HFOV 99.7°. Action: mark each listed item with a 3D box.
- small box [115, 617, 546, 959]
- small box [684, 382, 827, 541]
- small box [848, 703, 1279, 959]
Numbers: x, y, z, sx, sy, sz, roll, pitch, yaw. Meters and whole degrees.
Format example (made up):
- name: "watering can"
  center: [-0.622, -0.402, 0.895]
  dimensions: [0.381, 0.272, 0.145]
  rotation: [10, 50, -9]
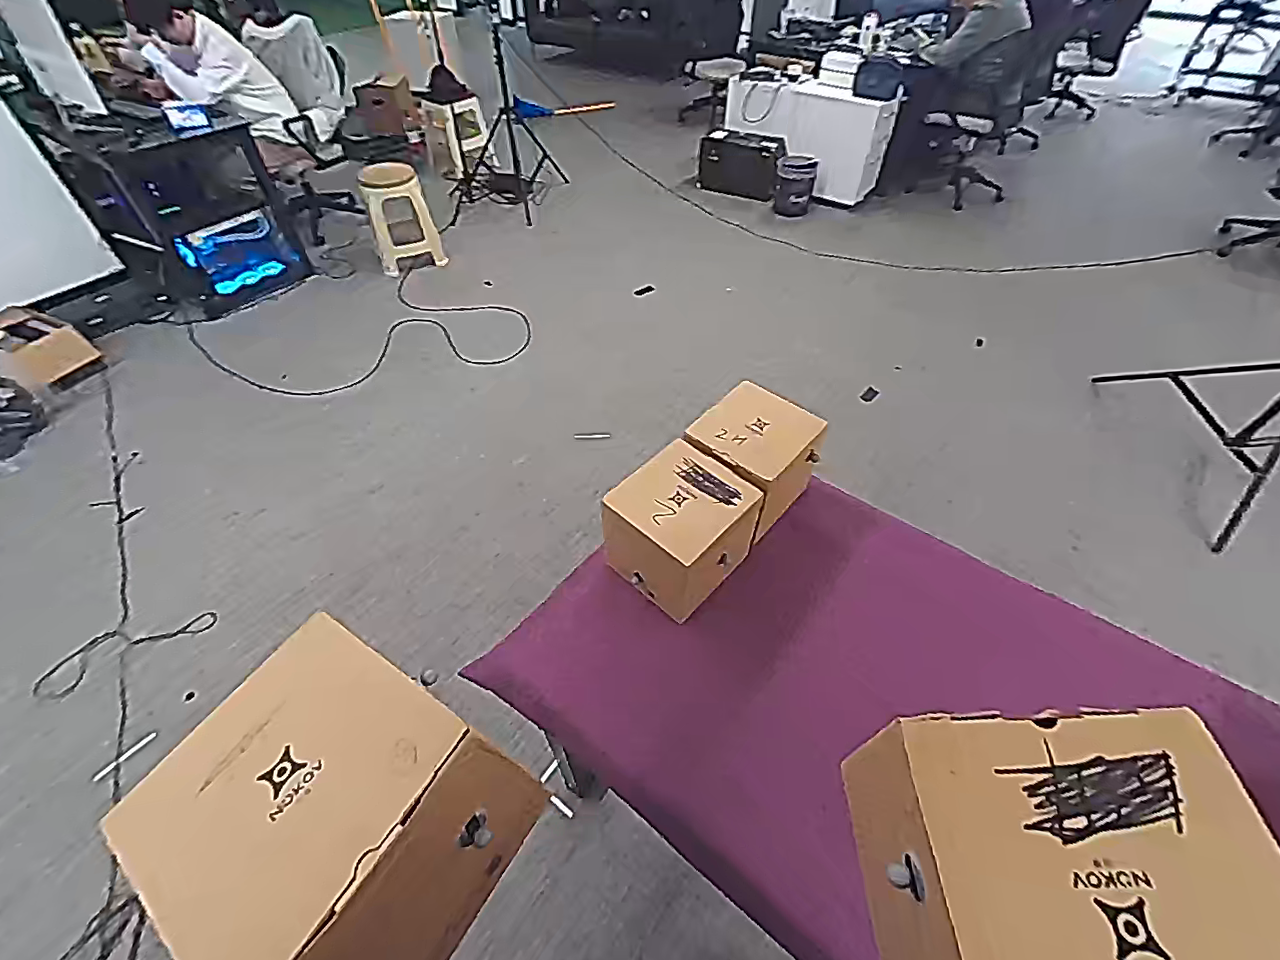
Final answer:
- name: "small box"
  center: [-0.196, 0.236, 0.390]
  dimensions: [0.179, 0.176, 0.168]
  rotation: [19, 55, 29]
- name: "small box"
  center: [0.188, -0.031, 0.930]
  dimensions: [0.168, 0.176, 0.179]
  rotation: [34, 57, 26]
- name: "small box"
  center: [0.242, 0.250, 0.332]
  dimensions: [0.168, 0.176, 0.179]
  rotation: [-4, 55, 4]
